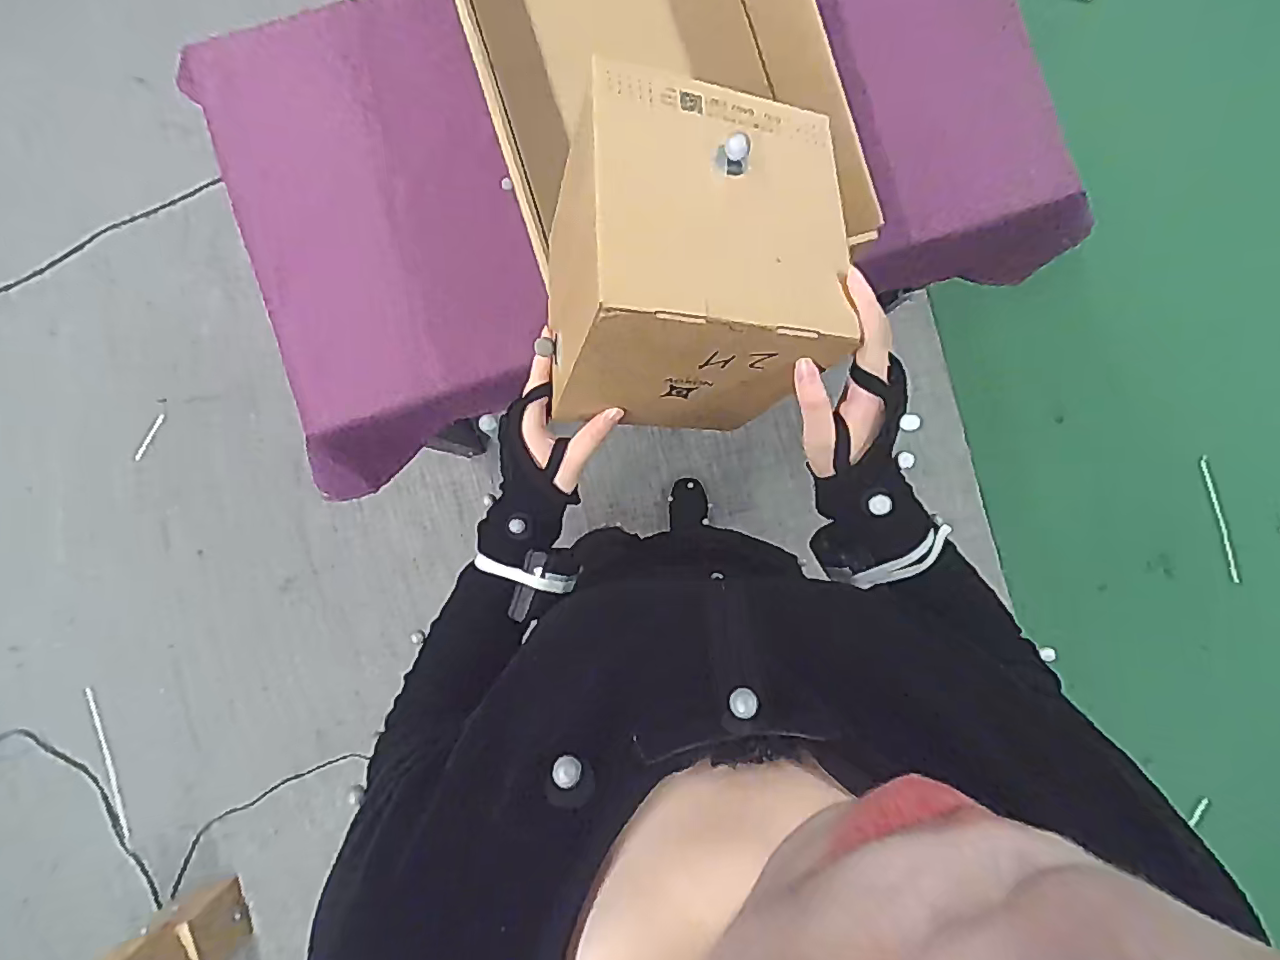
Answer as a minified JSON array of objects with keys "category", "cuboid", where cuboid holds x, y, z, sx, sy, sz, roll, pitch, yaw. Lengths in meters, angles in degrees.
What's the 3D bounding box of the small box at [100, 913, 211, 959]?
[{"category":"small box","cuboid":[-1.145,1.149,1.238,0.168,0.176,0.179,-28,90,-1]}]
